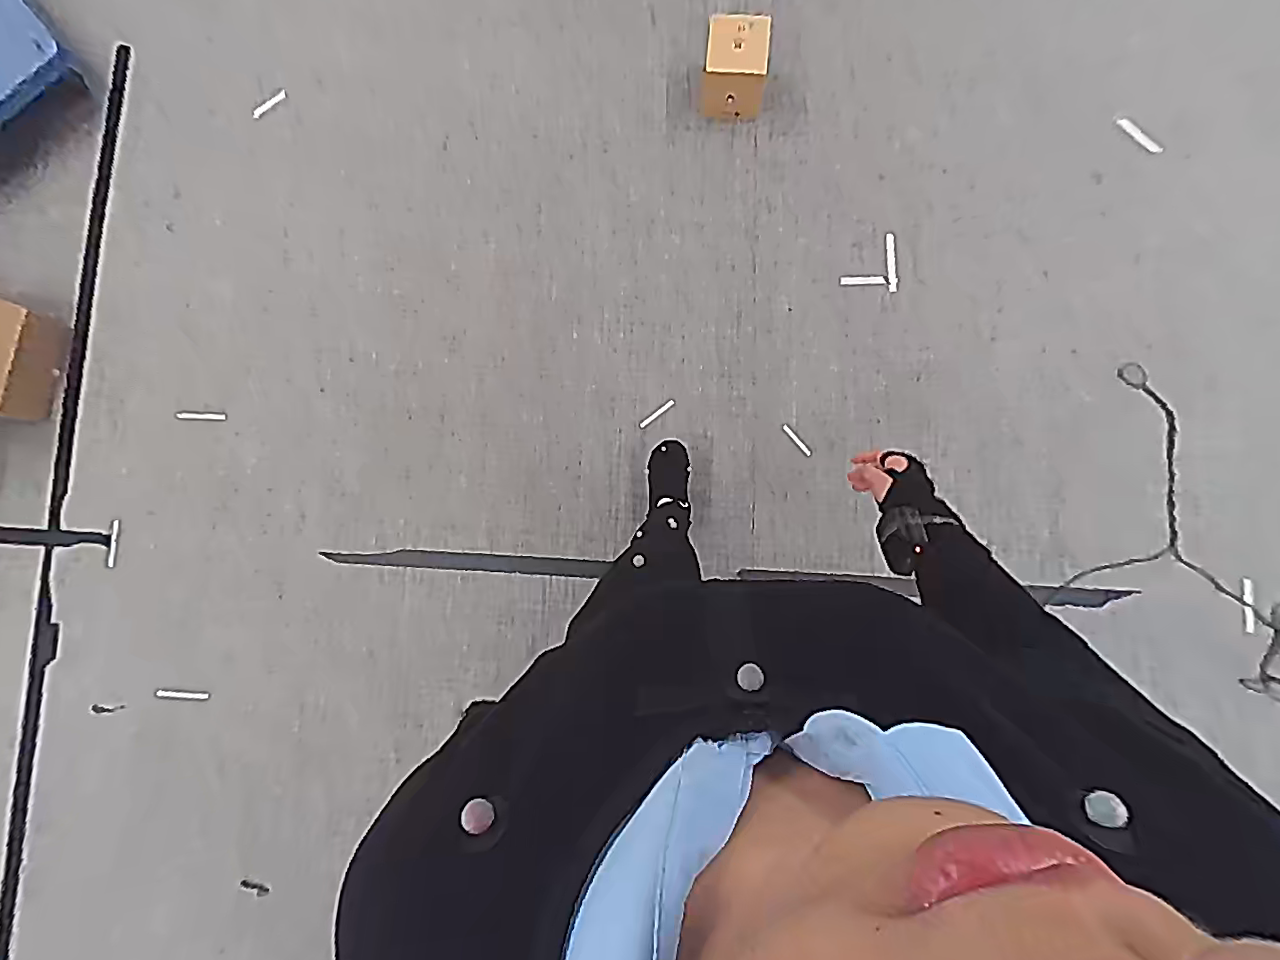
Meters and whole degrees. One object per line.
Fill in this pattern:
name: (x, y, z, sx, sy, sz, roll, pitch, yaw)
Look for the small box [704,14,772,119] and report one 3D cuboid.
small box: (0.274, -1.170, 1.541, 0.168, 0.176, 0.179, 6, 84, 3)
